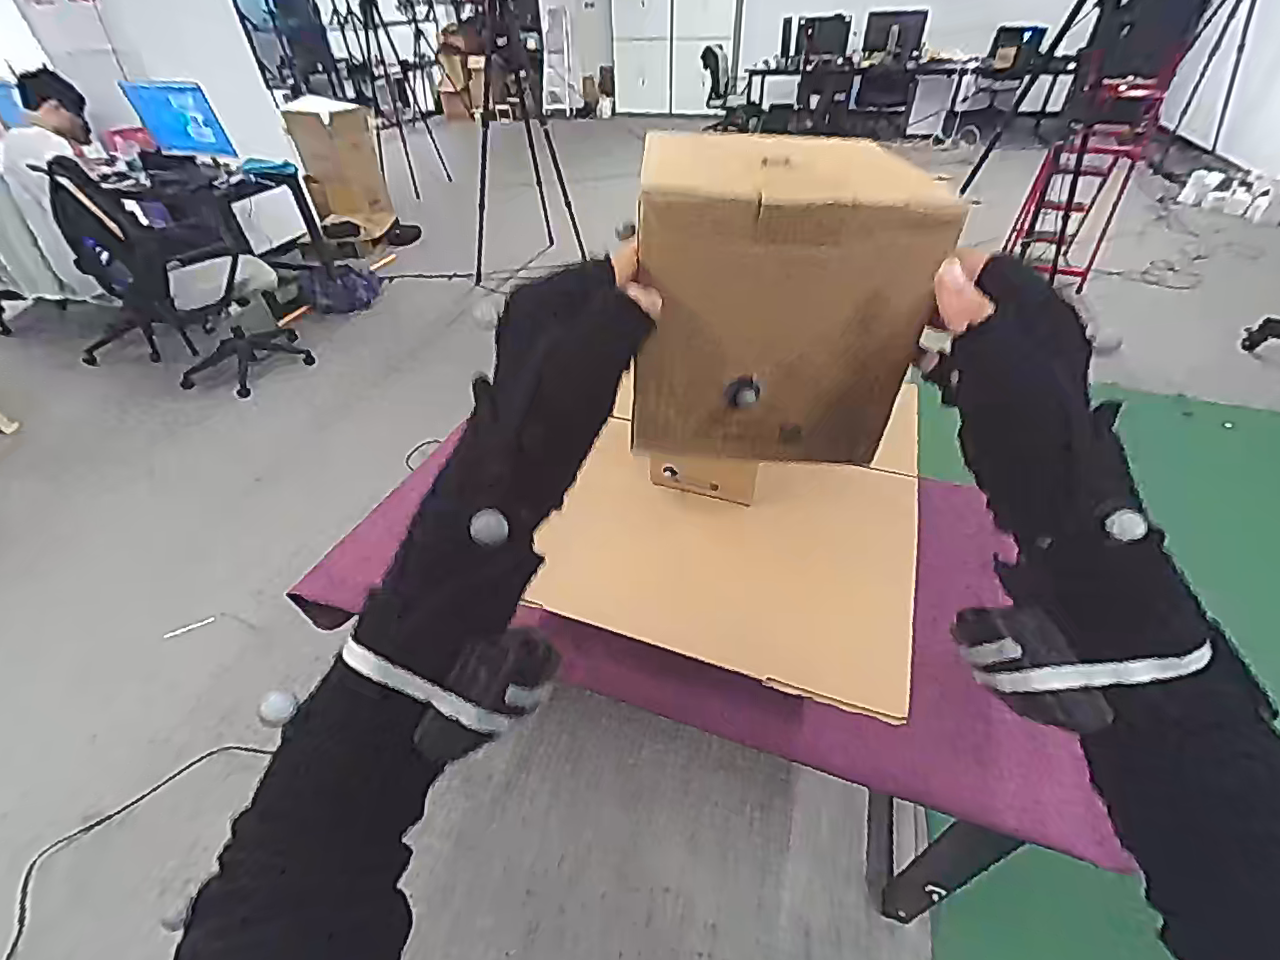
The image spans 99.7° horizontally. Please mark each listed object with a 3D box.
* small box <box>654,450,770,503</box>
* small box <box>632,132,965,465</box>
[{"bbox_3d":[0.123,-0.090,0.840,0.168,0.176,0.179,13,42,17],"label":"small box"},{"bbox_3d":[0.081,-0.132,0.384,0.168,0.176,0.179,2,41,0],"label":"small box"}]
